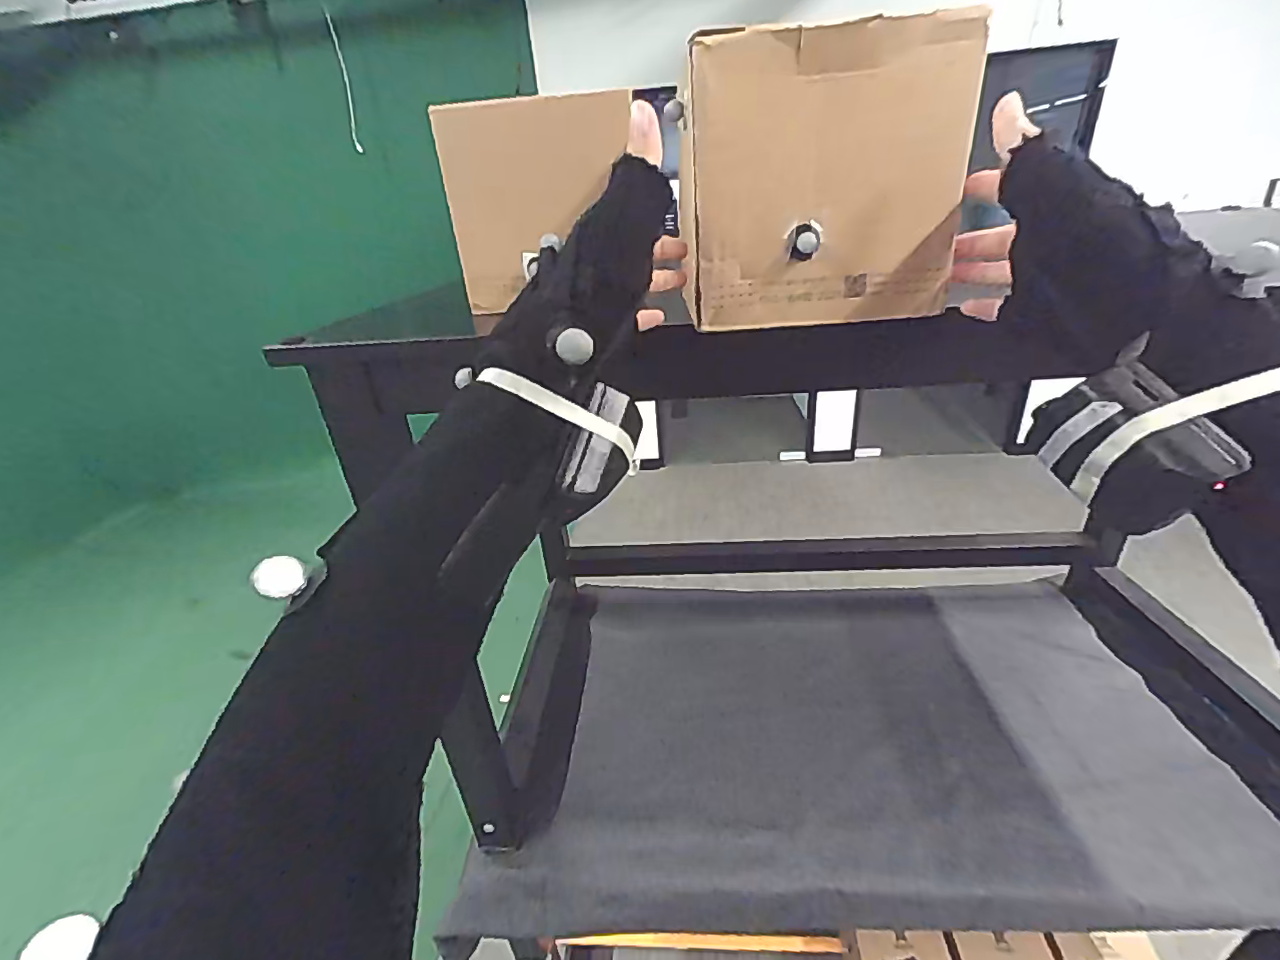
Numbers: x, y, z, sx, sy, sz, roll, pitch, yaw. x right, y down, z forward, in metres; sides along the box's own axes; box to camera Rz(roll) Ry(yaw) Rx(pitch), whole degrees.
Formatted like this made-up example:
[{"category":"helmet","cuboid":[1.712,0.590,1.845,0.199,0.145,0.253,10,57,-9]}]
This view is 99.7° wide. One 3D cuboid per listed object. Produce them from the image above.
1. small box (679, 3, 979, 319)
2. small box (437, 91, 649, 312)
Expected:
[{"category":"small box","cuboid":[0.116,-0.223,0.414,0.168,0.176,0.179,-4,26,3]},{"category":"small box","cuboid":[-0.080,-0.271,0.549,0.168,0.176,0.179,-5,27,2]}]
